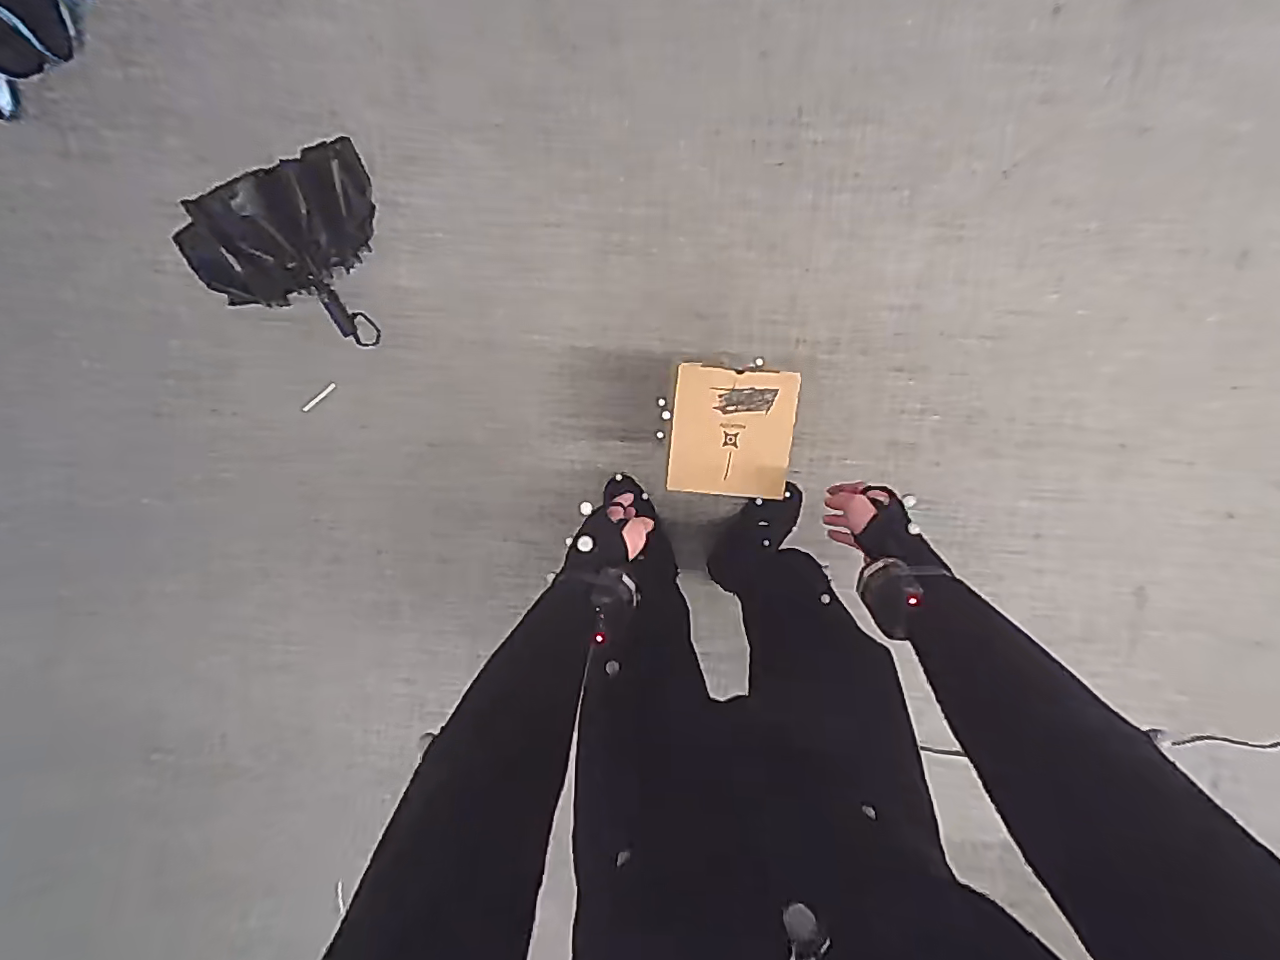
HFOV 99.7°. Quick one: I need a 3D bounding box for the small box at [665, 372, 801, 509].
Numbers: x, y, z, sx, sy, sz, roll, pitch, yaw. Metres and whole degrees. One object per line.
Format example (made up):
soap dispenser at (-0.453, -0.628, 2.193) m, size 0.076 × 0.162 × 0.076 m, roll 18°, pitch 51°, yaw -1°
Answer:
small box at (0.128, -0.068, 0.816) m, size 0.168 × 0.176 × 0.179 m, roll 5°, pitch 104°, yaw 0°
